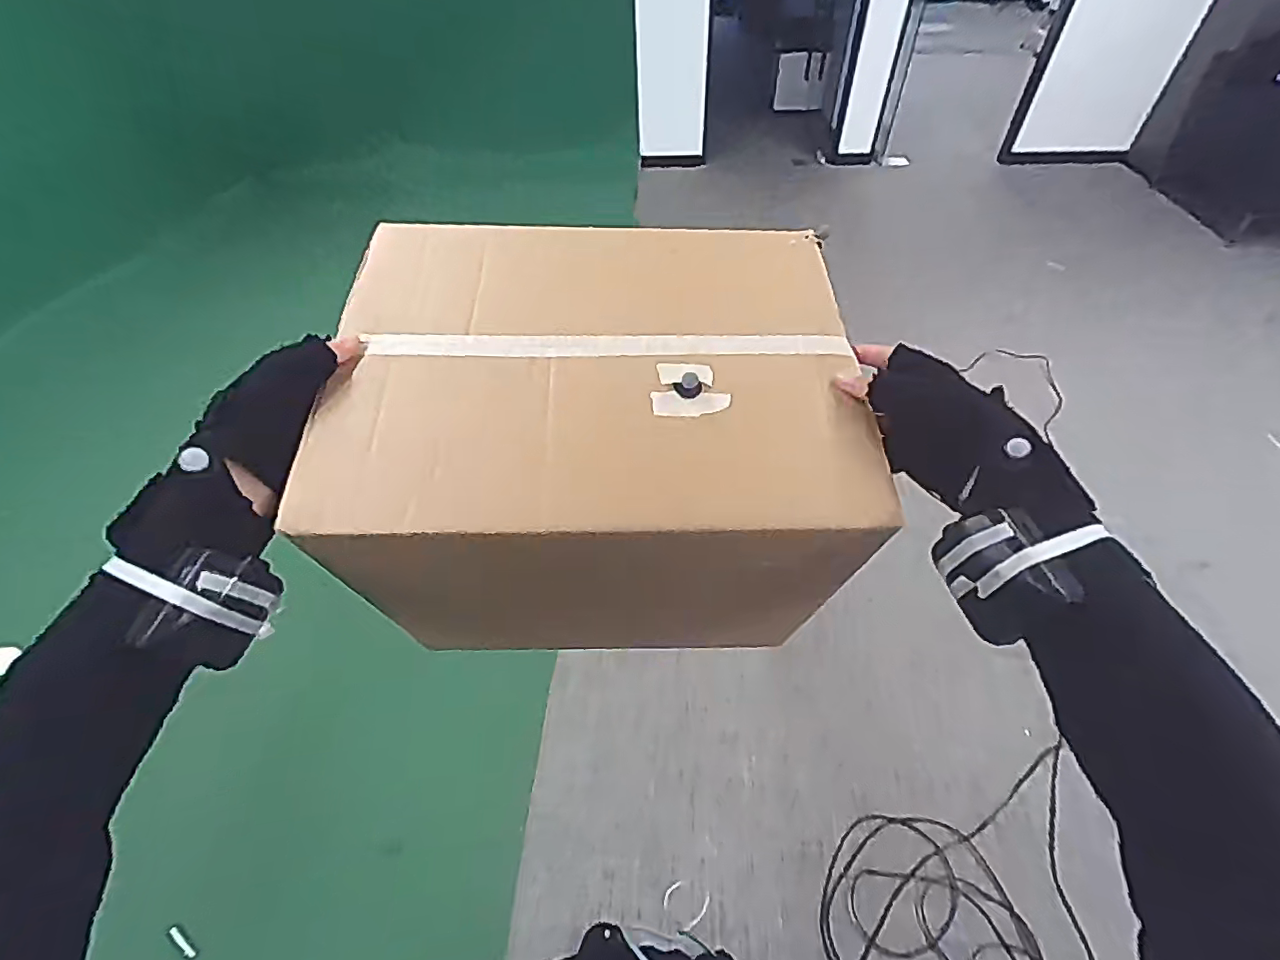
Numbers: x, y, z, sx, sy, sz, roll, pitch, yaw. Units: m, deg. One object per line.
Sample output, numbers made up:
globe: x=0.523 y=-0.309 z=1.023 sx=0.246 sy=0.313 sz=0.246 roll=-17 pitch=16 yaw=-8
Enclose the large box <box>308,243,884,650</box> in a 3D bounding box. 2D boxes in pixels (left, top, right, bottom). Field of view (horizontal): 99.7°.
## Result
large box: x=-0.037 y=-0.019 z=0.571 sx=0.408 sy=0.320 sz=0.320 roll=1 pitch=58 yaw=-3
